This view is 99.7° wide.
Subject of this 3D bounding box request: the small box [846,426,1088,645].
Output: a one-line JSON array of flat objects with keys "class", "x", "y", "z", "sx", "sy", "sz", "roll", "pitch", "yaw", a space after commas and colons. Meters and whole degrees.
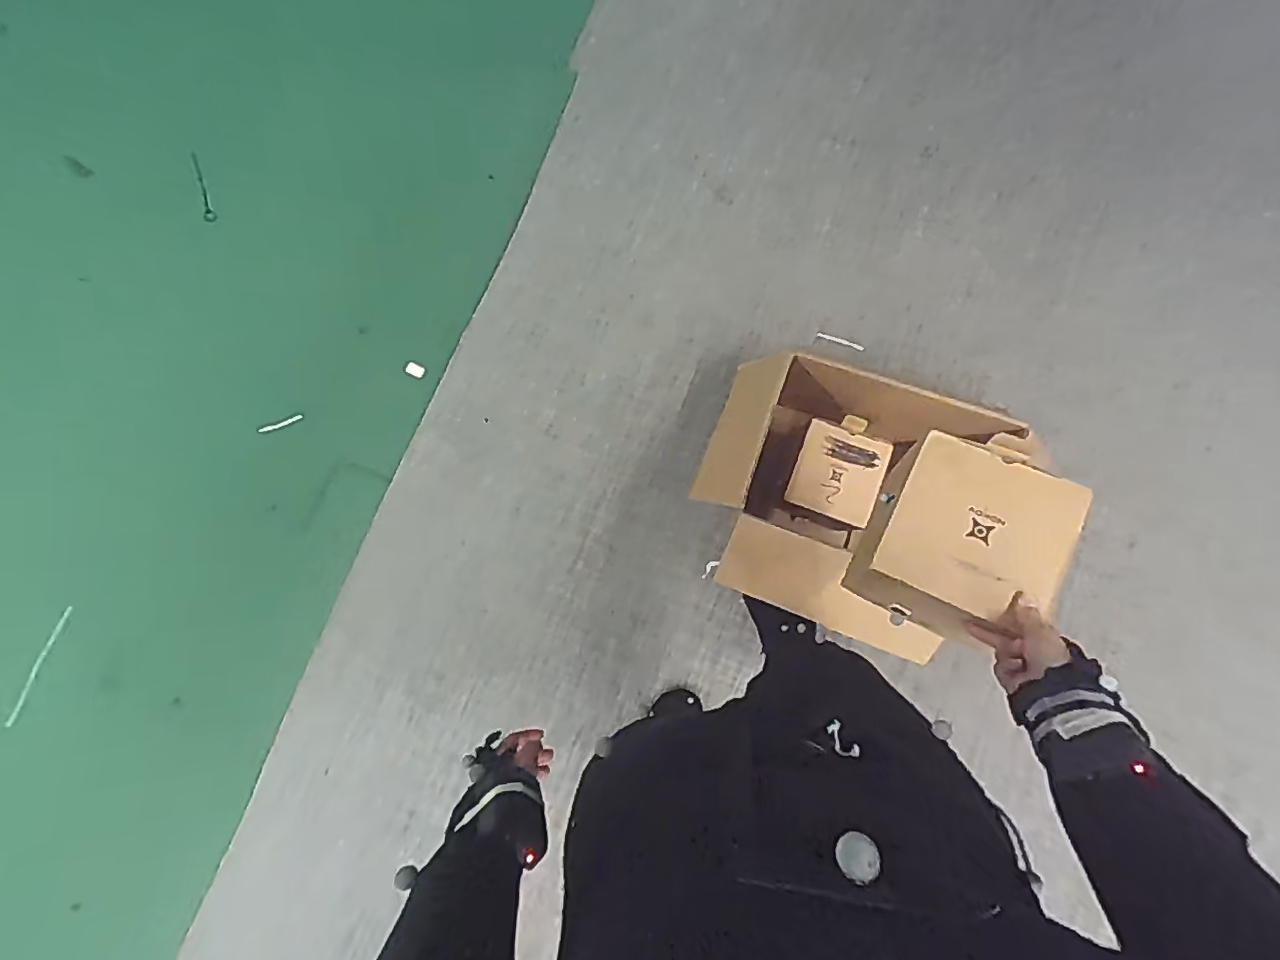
[{"class": "small box", "x": 0.357, "y": 0.071, "z": 0.624, "sx": 0.168, "sy": 0.176, "sz": 0.179, "roll": 25, "pitch": 76, "yaw": 17}]
